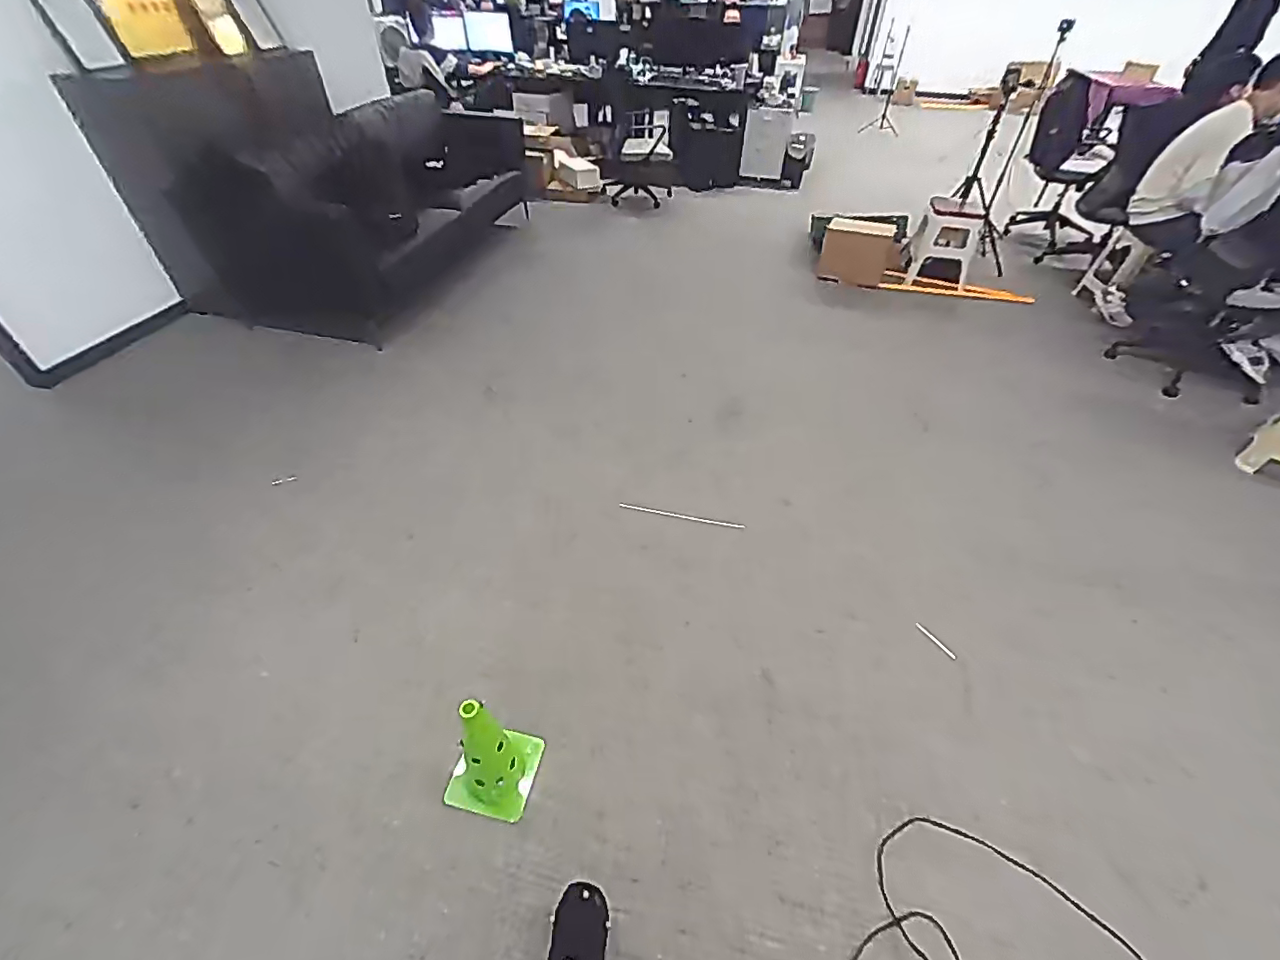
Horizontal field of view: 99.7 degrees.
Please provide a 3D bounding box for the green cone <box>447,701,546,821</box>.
[{"bbox_3d":[-0.354,0.611,1.250,0.202,0.368,0.200,10,44,8],"label":"green cone"}]
